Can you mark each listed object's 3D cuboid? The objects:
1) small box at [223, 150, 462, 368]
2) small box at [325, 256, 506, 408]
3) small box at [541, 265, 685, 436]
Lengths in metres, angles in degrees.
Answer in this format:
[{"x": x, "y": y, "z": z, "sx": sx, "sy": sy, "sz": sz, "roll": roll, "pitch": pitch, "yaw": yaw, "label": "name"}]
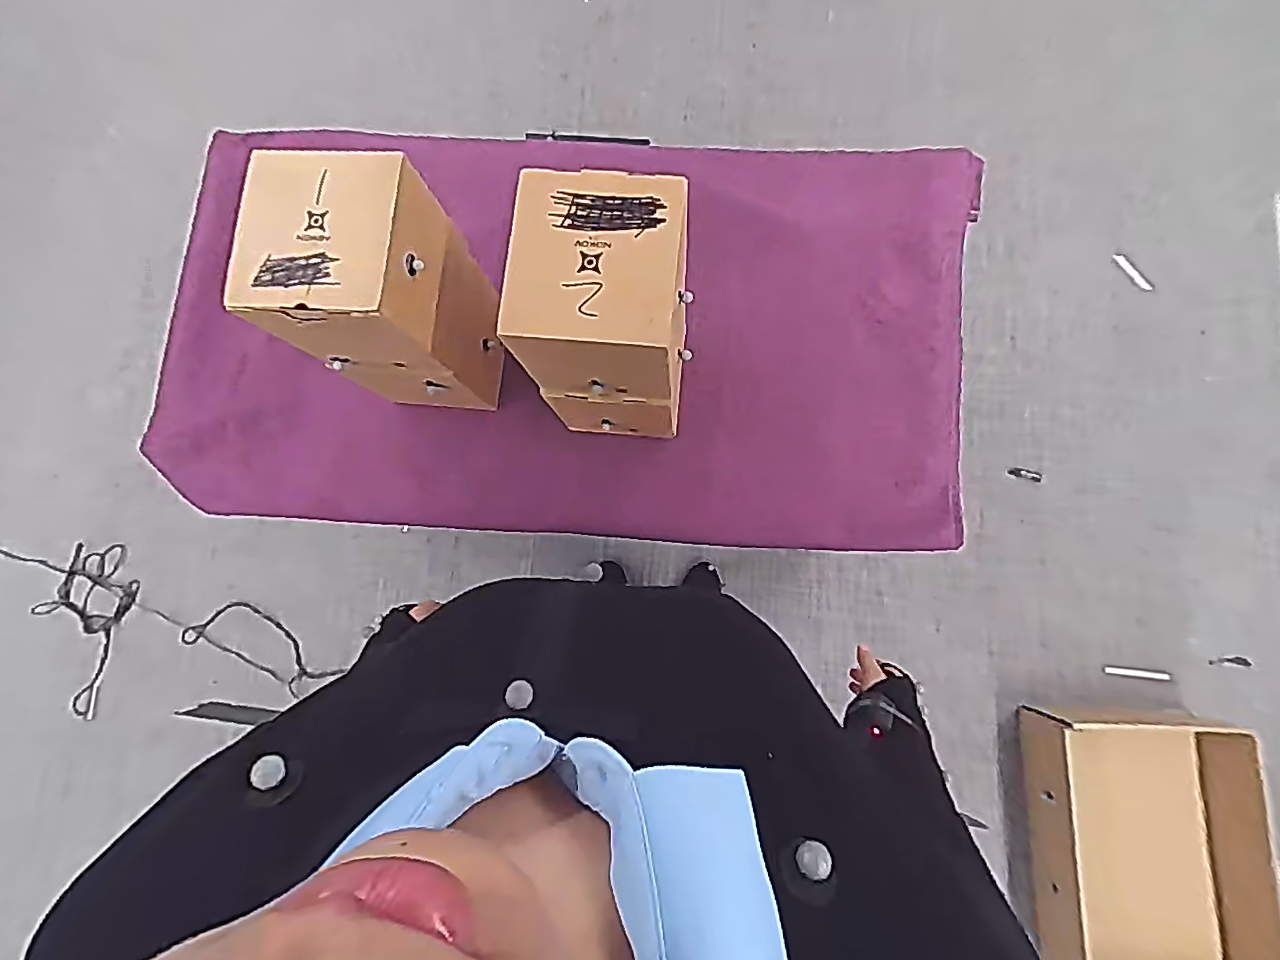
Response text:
[{"x": -0.319, "y": -0.238, "z": 0.616, "sx": 0.168, "sy": 0.176, "sz": 0.179, "roll": 4, "pitch": 82, "yaw": 5, "label": "small box"}, {"x": -0.306, "y": -0.208, "z": 0.777, "sx": 0.179, "sy": 0.176, "sz": 0.168, "roll": 5, "pitch": 82, "yaw": 5, "label": "small box"}, {"x": -0.028, "y": -0.171, "z": 0.750, "sx": 0.168, "sy": 0.176, "sz": 0.179, "roll": 5, "pitch": 82, "yaw": 5, "label": "small box"}]
